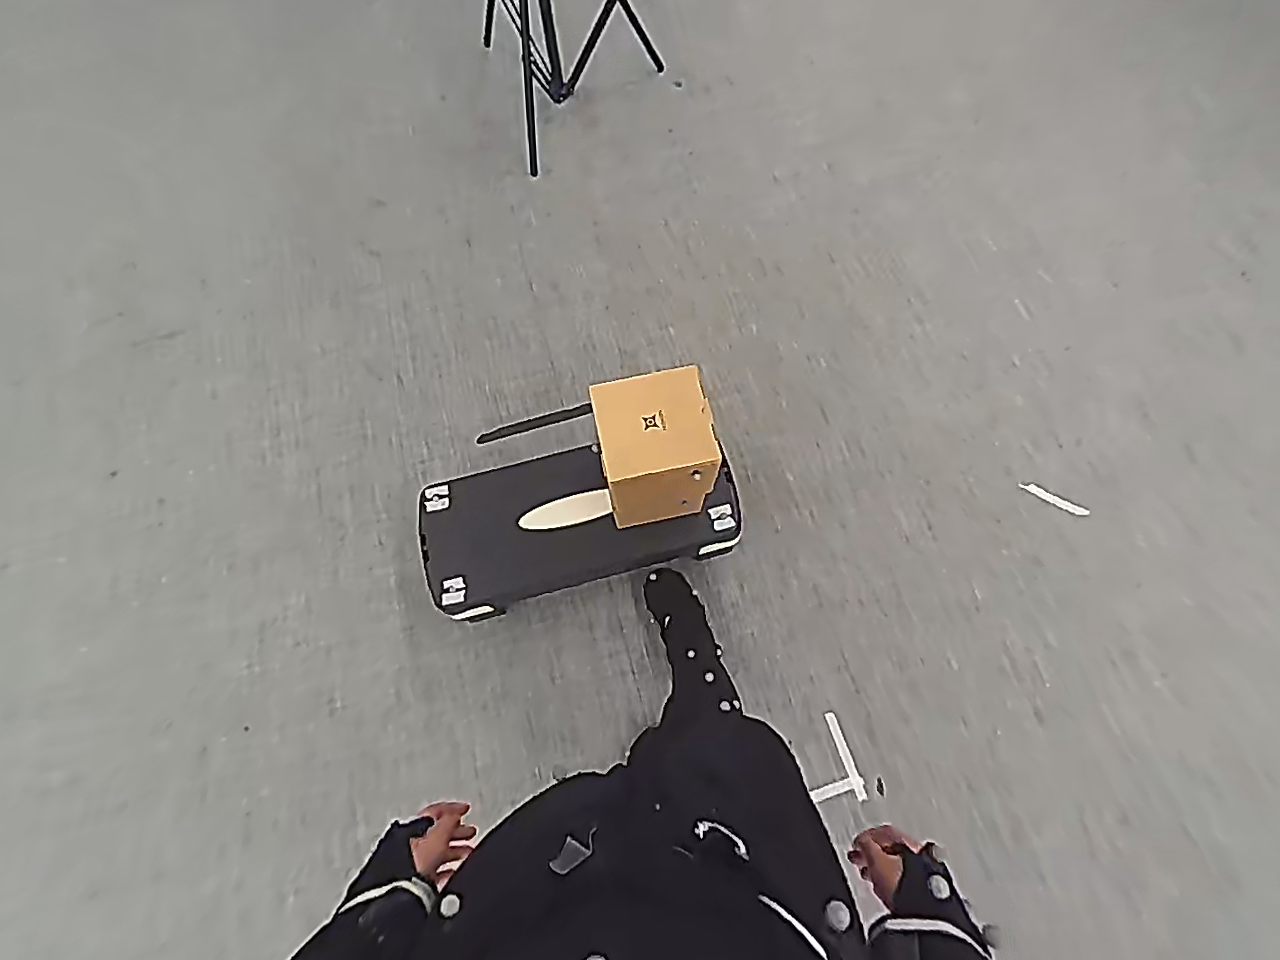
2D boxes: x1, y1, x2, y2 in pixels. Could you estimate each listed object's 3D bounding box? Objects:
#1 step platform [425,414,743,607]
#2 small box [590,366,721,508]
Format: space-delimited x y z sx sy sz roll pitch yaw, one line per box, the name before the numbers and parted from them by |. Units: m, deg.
step platform | -0.119 0.063 1.217 0.684 0.204 0.286 -15 72 -3
small box | 0.024 -0.062 0.900 0.179 0.176 0.168 -12 72 -3
